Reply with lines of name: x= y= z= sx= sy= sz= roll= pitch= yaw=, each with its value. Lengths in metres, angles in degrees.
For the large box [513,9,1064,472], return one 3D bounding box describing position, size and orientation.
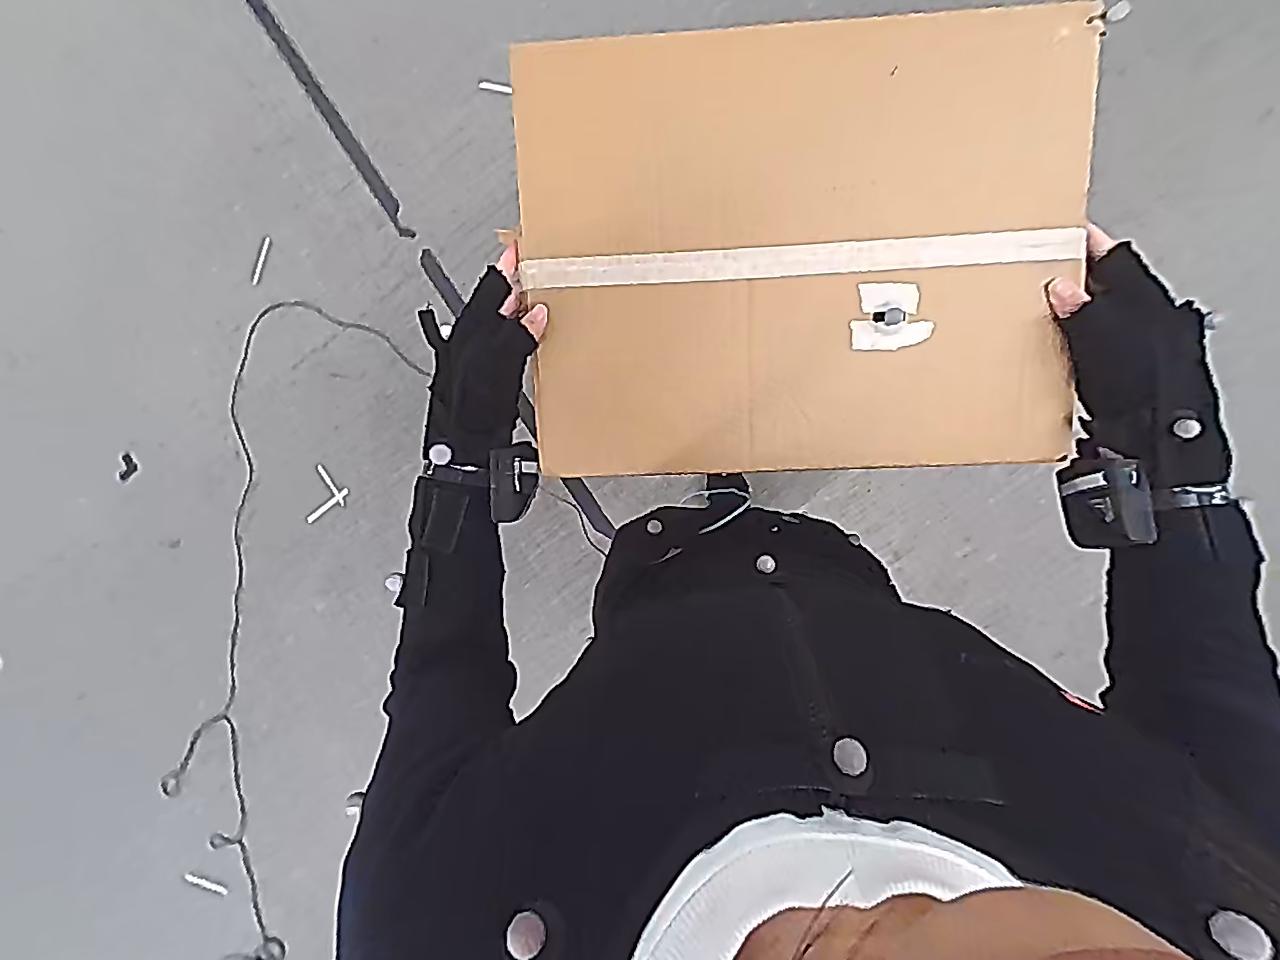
large box: x=0.116 y=-0.193 z=0.559 sx=0.408 sy=0.320 sz=0.320 roll=-3 pitch=99 yaw=2
